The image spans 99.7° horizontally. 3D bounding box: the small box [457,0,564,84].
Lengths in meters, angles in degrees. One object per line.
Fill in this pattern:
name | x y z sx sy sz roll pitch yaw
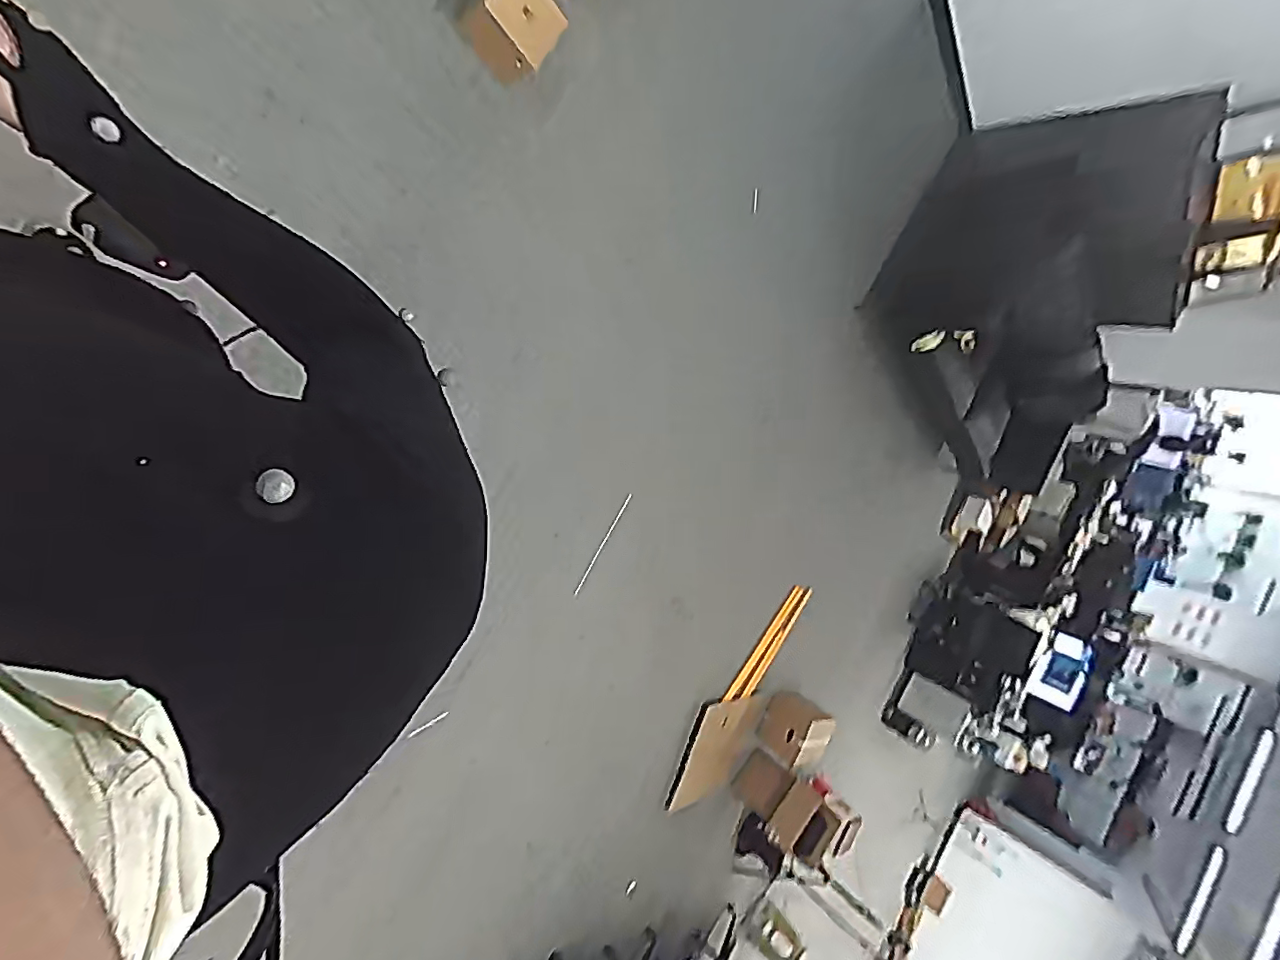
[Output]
small box | -0.339 -1.178 1.401 0.179 0.176 0.168 34 82 -45
